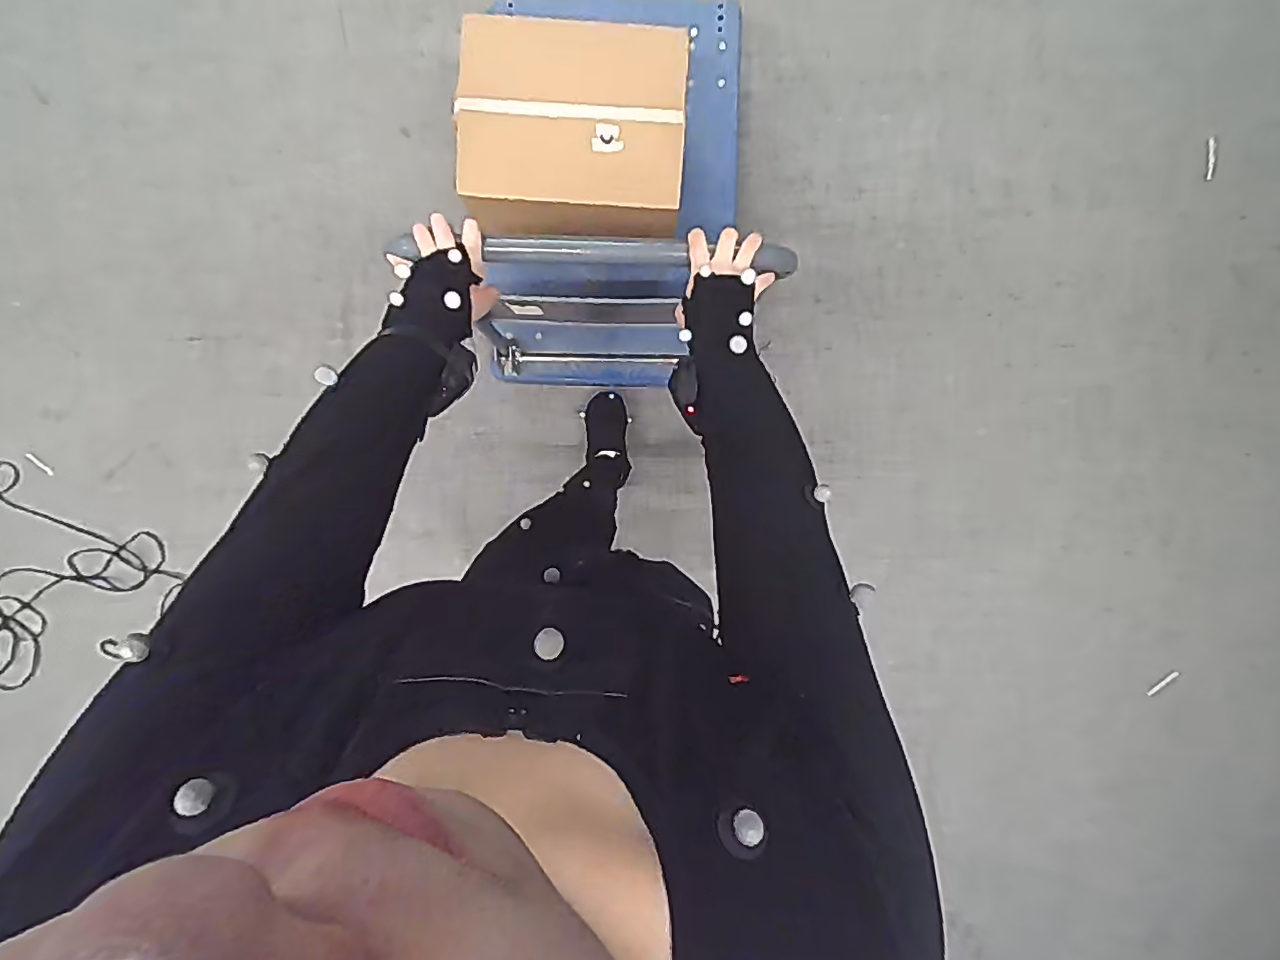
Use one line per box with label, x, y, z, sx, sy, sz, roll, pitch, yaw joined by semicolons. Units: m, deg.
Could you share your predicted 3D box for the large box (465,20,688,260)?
large box;-0.122;-0.674;1.130;0.408;0.320;0.320;3;94;-1
